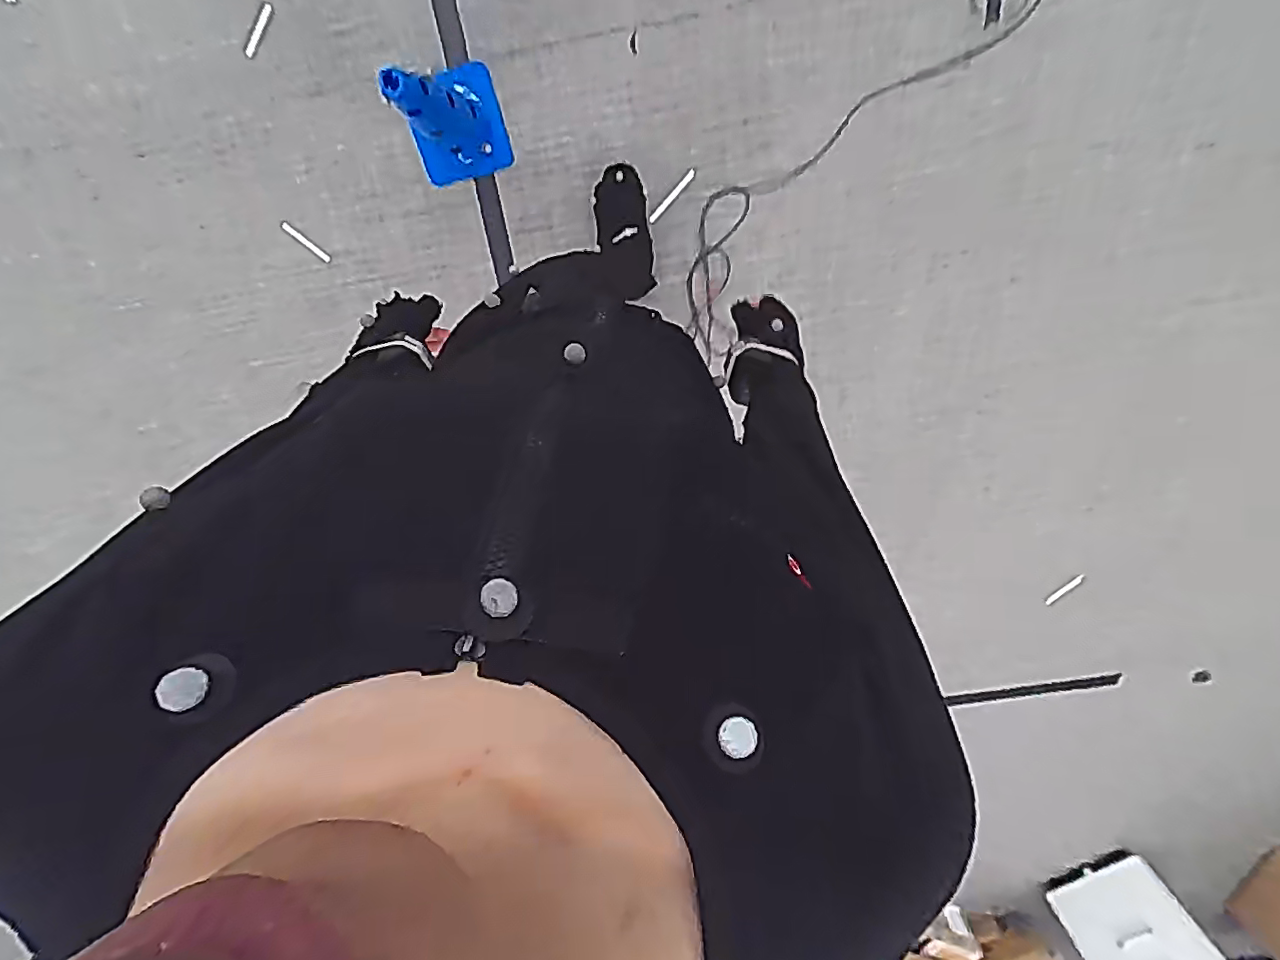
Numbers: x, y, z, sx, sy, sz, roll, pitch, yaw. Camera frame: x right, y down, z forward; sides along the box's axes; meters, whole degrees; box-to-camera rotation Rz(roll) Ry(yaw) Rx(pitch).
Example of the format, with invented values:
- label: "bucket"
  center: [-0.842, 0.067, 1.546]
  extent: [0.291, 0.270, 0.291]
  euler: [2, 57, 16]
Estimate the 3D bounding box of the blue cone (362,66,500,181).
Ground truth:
- label: "blue cone"
  center: [-0.410, -0.703, 1.018]
  extent: [0.192, 0.380, 0.193]
  euler: [-11, 113, 5]
